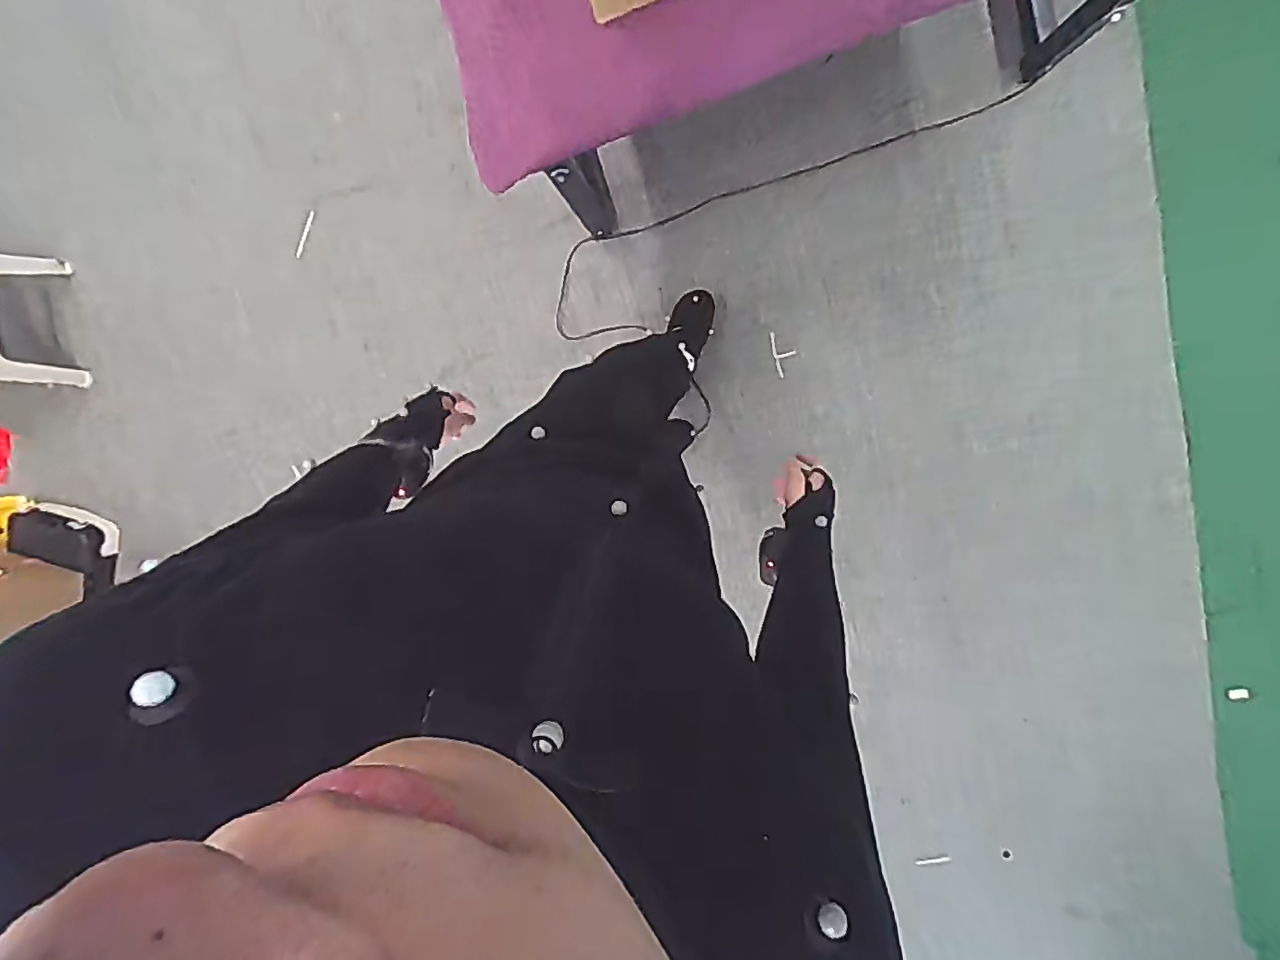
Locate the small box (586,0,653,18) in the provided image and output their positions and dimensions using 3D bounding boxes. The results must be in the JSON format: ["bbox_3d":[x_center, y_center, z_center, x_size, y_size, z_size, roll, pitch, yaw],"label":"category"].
[{"bbox_3d":[-0.017,-0.716,0.654,0.168,0.176,0.179,-18,98,7],"label":"small box"}]
